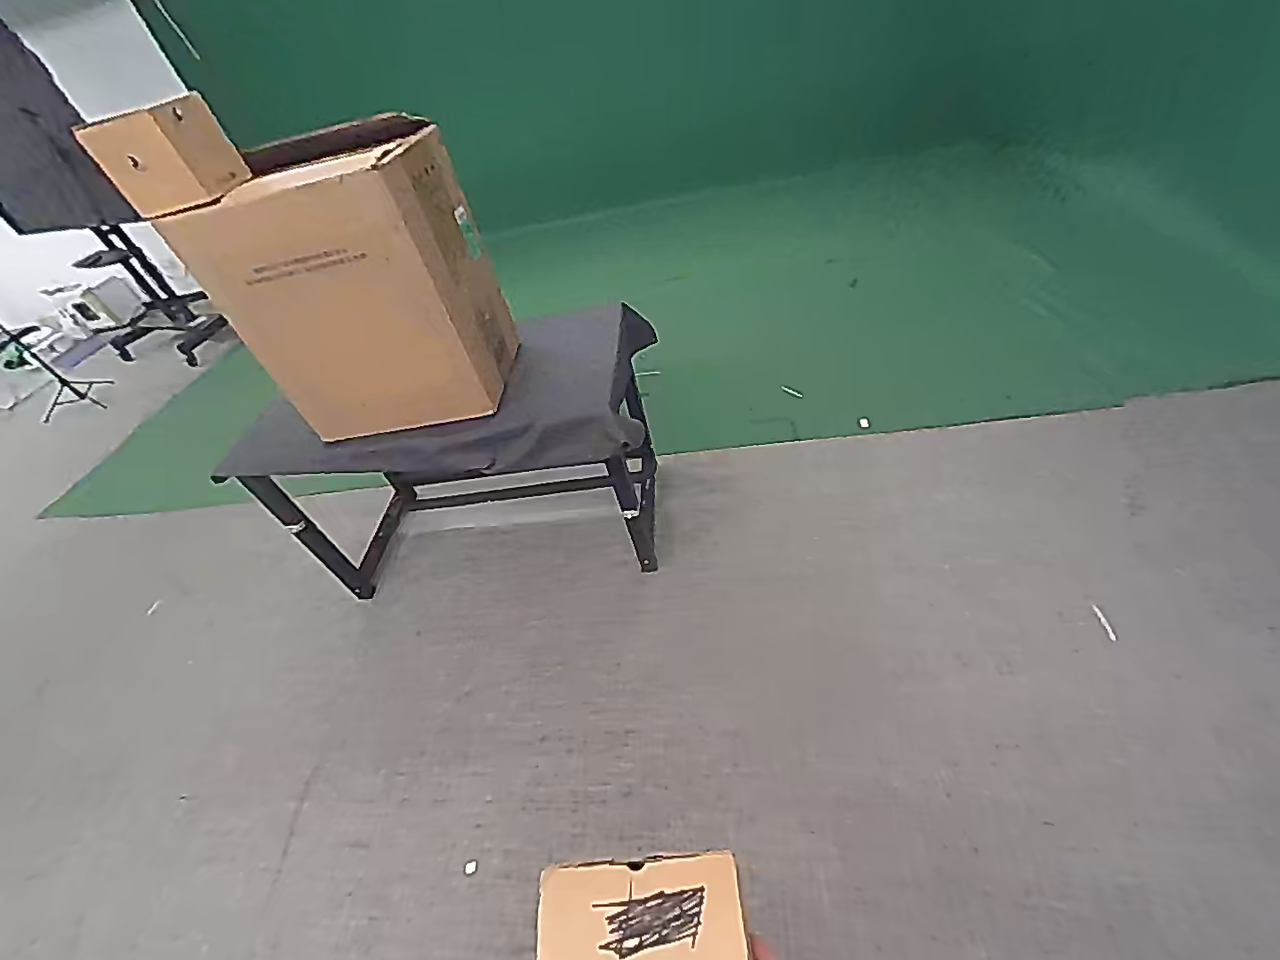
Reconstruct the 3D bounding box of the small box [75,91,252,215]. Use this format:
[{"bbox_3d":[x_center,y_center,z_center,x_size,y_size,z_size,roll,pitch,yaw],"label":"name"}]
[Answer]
[{"bbox_3d":[-0.972,-0.674,1.123,0.179,0.176,0.168,-8,45,10],"label":"small box"}]
